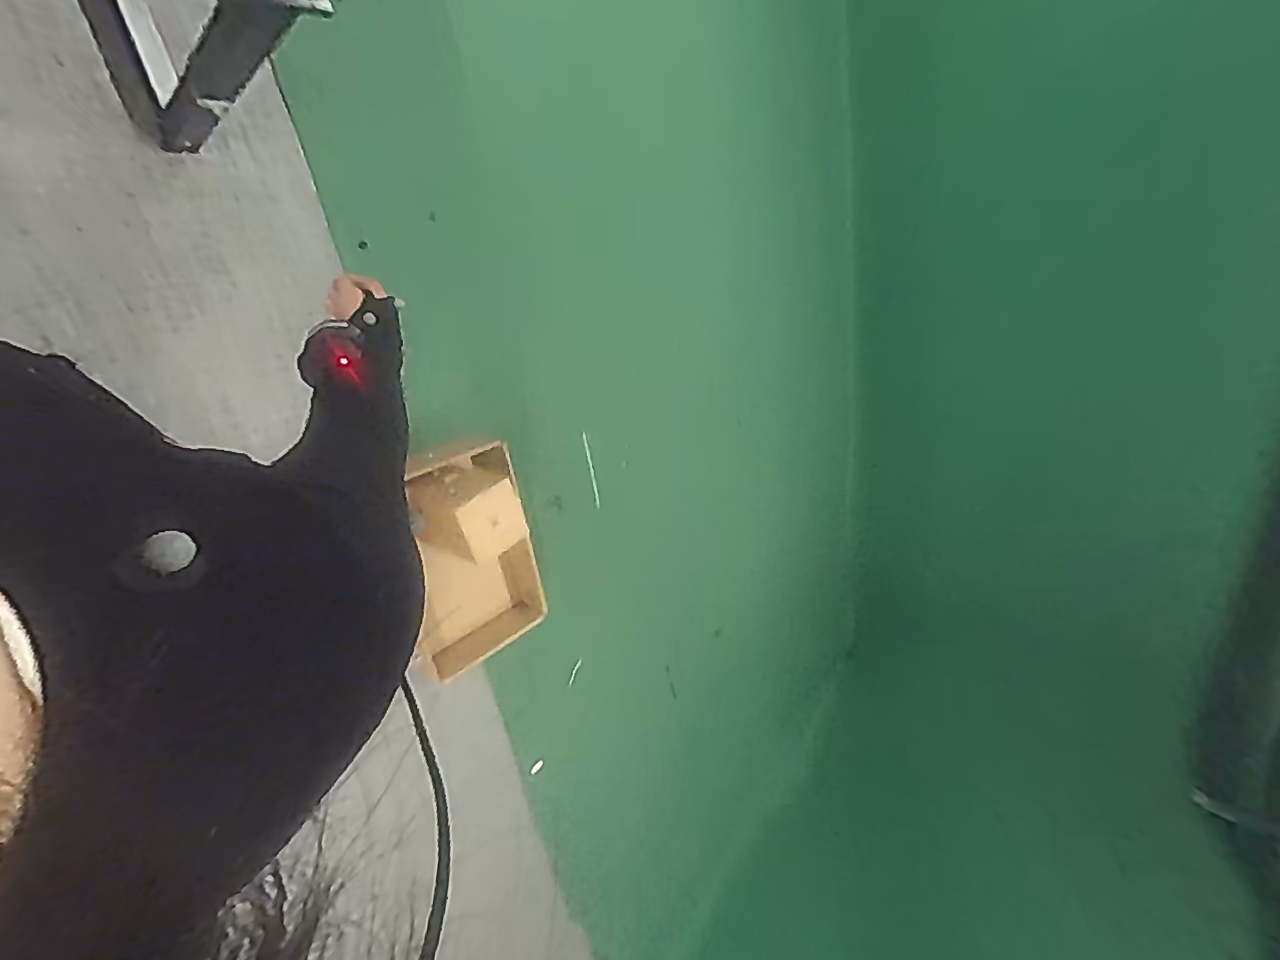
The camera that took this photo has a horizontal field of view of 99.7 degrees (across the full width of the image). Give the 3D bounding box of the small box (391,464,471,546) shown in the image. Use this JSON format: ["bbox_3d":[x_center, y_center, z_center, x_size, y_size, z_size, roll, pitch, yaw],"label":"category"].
[{"bbox_3d":[-0.563,0.060,1.502,0.168,0.176,0.179,-27,118,-42],"label":"small box"}]

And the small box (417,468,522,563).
[{"bbox_3d":[-0.441,0.081,1.394,0.168,0.176,0.179,-37,127,-36],"label":"small box"}]
